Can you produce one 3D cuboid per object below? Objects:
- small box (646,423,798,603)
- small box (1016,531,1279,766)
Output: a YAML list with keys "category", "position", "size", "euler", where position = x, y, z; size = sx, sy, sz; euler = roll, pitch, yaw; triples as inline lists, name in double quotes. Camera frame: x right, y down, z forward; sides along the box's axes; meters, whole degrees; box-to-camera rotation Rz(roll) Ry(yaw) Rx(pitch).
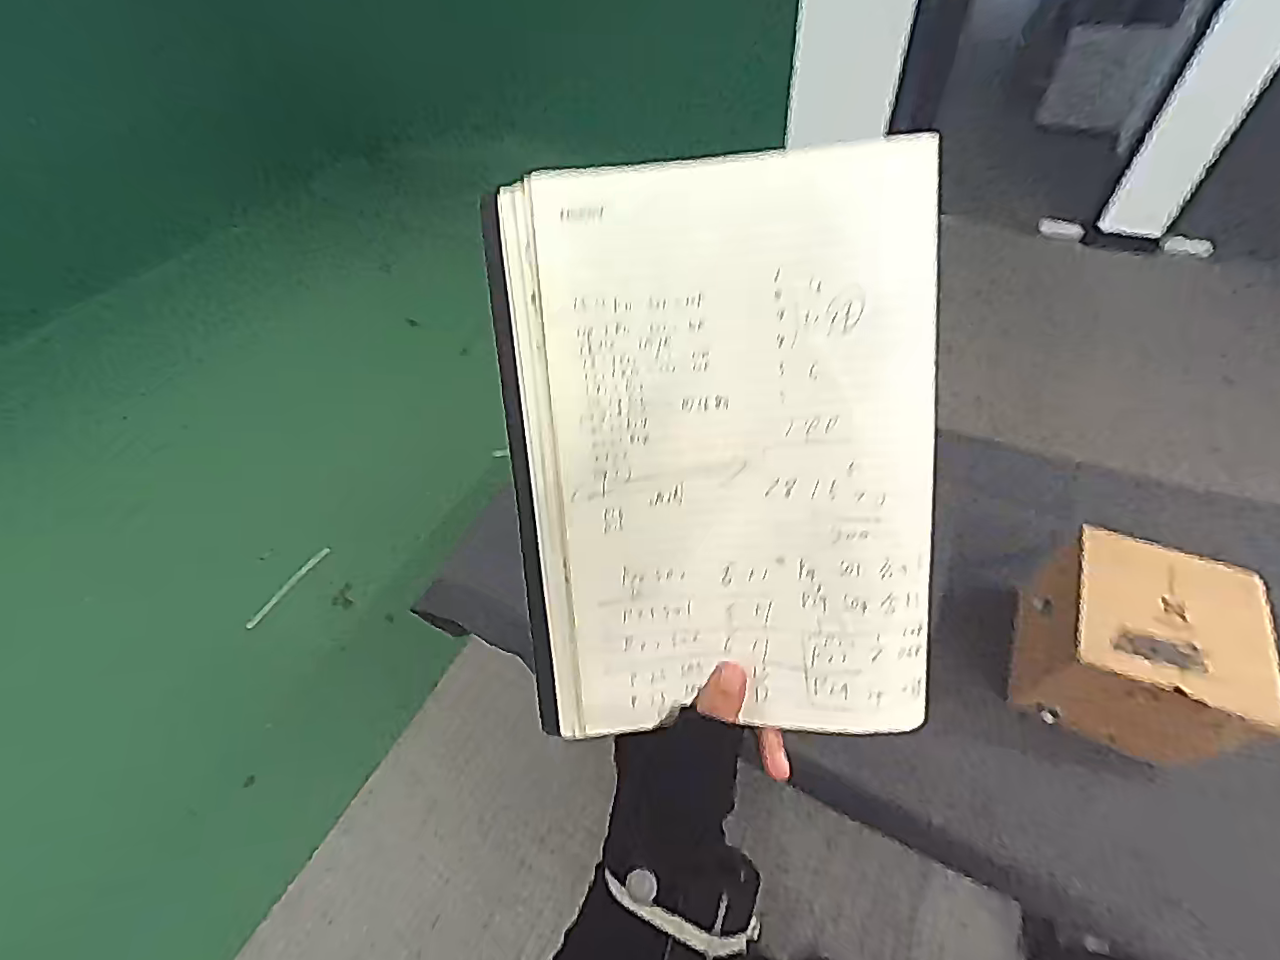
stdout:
- category: "small box"
  position: [0.120, 0.049, 0.792]
  size: [0.168, 0.176, 0.179]
  euler: [16, 55, 19]
- category: "small box"
  position: [0.562, 0.196, 0.621]
  size: [0.168, 0.176, 0.179]
  euler: [19, 55, 21]
